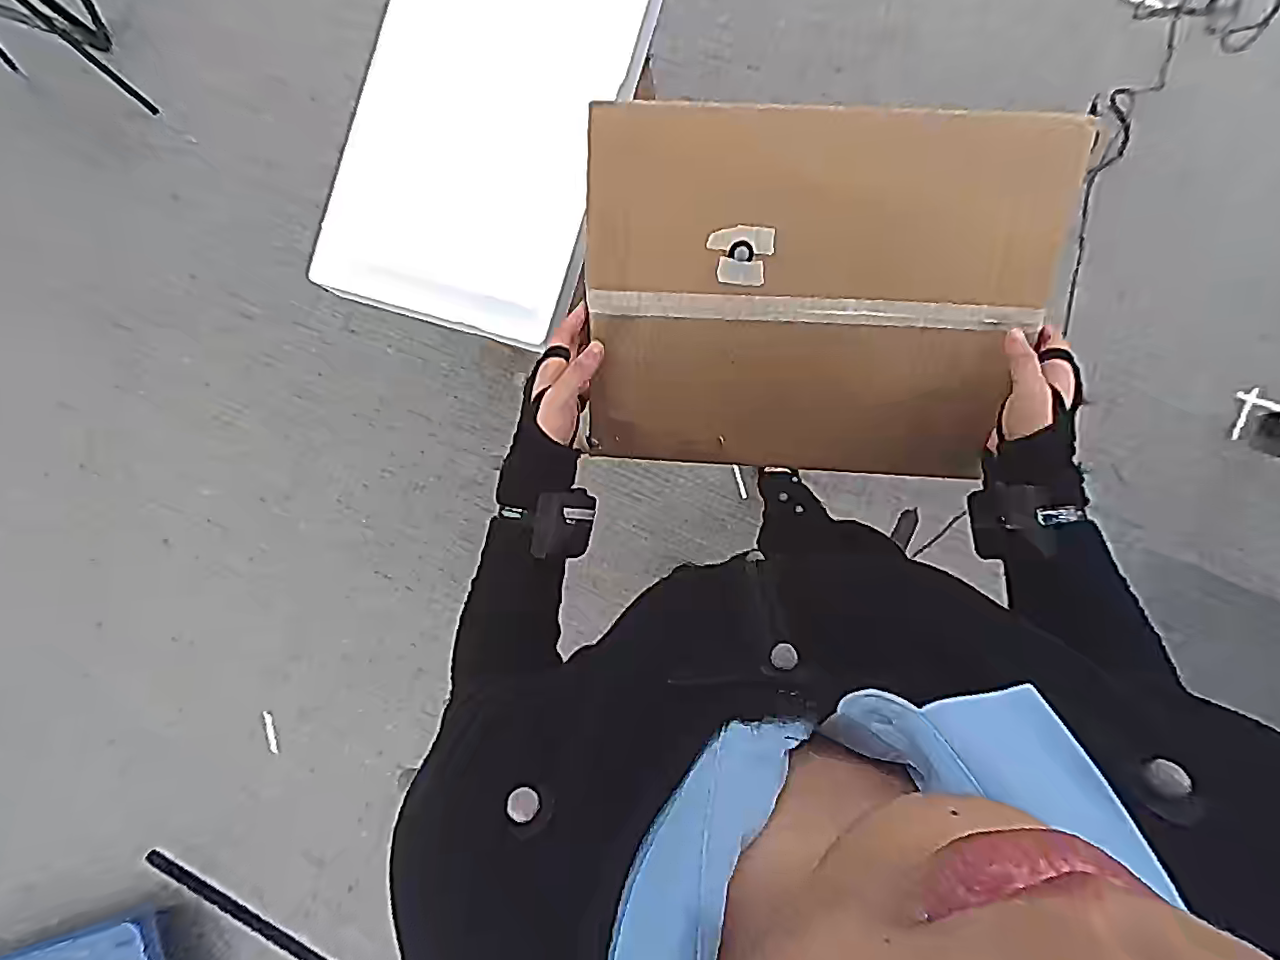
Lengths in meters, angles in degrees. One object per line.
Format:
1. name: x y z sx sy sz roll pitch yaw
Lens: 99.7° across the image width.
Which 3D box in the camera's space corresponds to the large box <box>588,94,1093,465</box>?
1. large box: 0.167 -0.222 0.626 0.408 0.320 0.320 3 113 4
